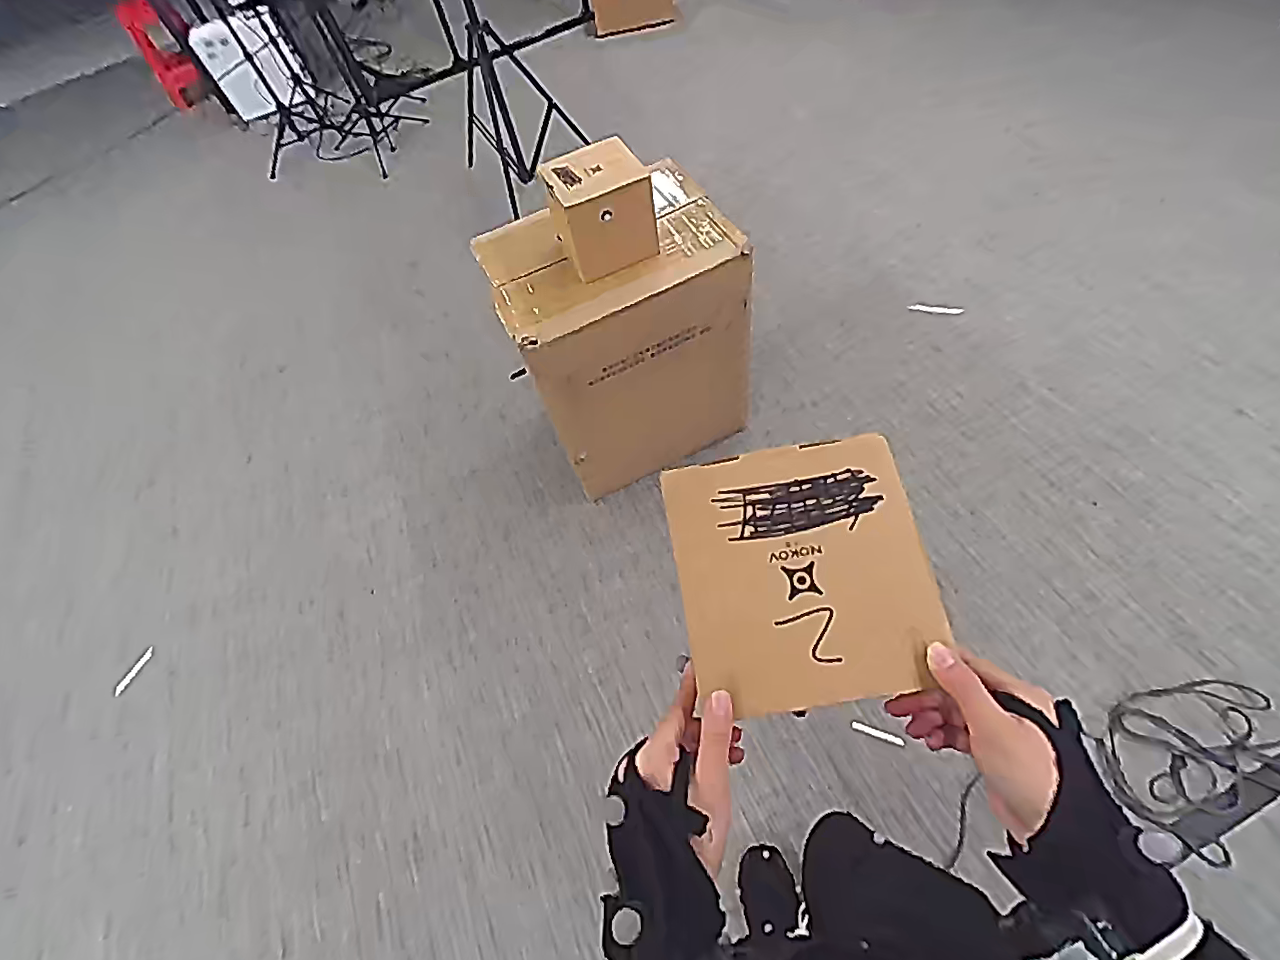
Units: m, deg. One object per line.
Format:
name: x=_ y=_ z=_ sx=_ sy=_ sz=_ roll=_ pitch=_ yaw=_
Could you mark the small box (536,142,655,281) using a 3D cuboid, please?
small box: x=-0.085 y=-0.535 z=1.092 sx=0.179 sy=0.176 sz=0.168 roll=-25 pitch=59 yaw=-6
